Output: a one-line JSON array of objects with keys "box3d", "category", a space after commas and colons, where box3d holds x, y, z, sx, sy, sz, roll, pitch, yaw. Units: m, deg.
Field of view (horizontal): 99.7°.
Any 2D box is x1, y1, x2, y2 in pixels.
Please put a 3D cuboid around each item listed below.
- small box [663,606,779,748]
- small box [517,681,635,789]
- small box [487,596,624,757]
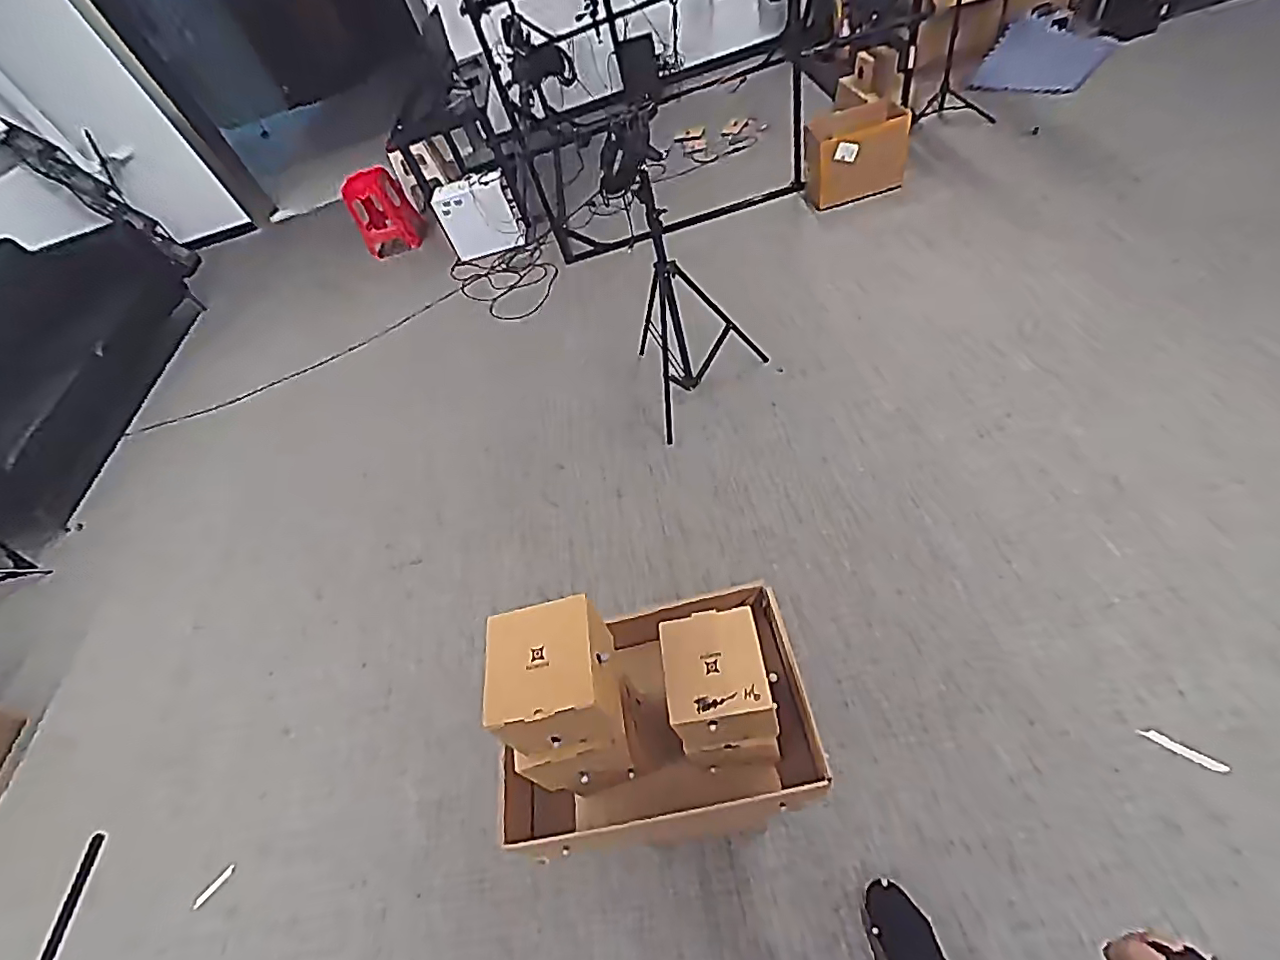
[{"box3d": [0.142, 0.350, 0.951, 0.168, 0.176, 0.179, -13, 50, 8], "category": "small box"}, {"box3d": [-0.117, 0.431, 0.978, 0.168, 0.176, 0.179, -18, 50, 2], "category": "small box"}, {"box3d": [-0.130, 0.315, 0.861, 0.168, 0.176, 0.179, -15, 50, 4], "category": "small box"}]
